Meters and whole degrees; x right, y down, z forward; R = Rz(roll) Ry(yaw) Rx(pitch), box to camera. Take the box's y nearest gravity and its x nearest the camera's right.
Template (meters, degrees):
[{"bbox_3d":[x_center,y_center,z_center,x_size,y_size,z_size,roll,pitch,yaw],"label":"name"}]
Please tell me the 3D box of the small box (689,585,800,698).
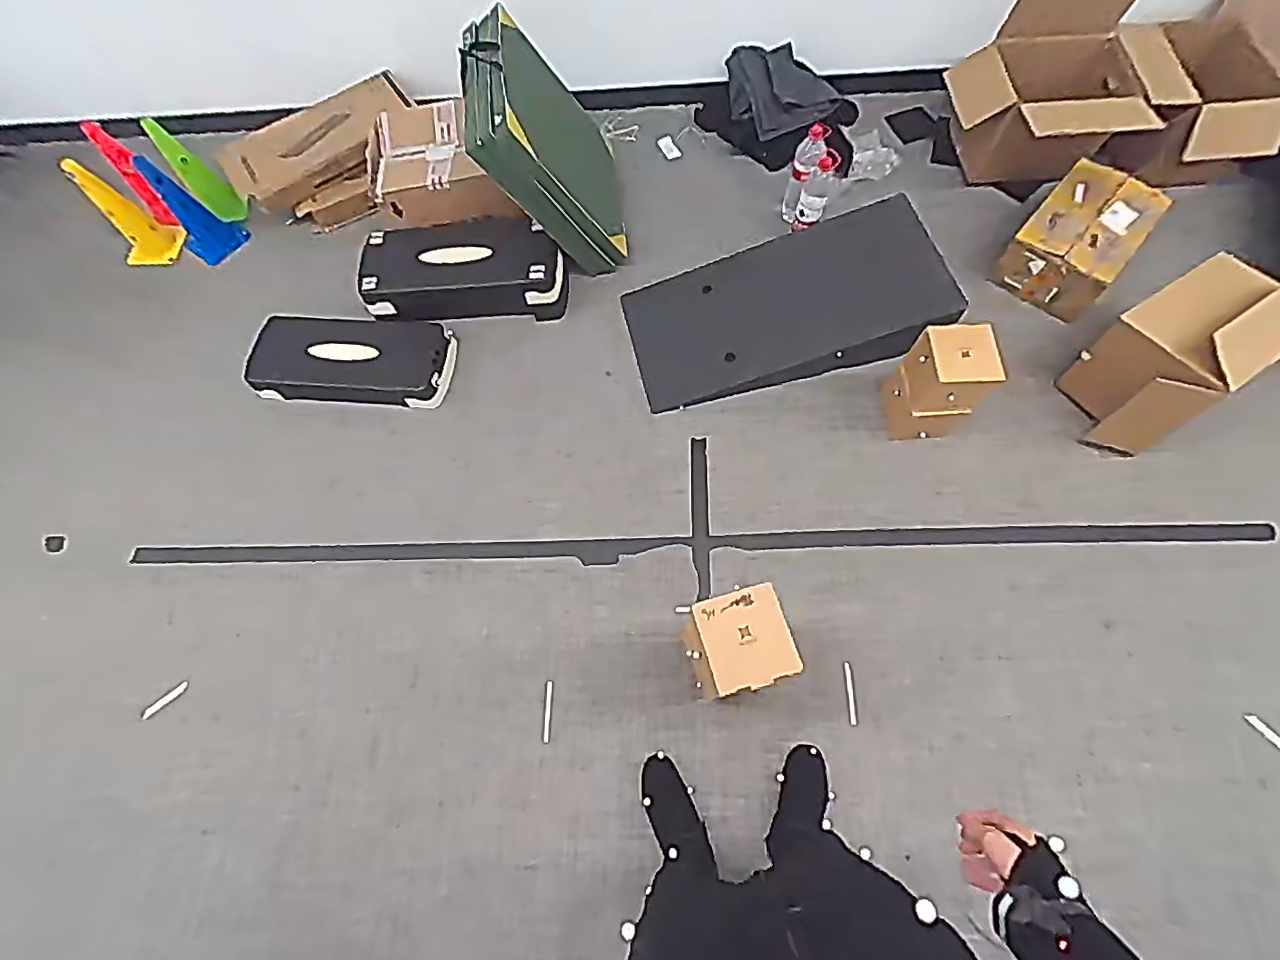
[{"bbox_3d":[0.203,0.329,1.098,0.168,0.176,0.179,-16,69,-3],"label":"small box"}]
